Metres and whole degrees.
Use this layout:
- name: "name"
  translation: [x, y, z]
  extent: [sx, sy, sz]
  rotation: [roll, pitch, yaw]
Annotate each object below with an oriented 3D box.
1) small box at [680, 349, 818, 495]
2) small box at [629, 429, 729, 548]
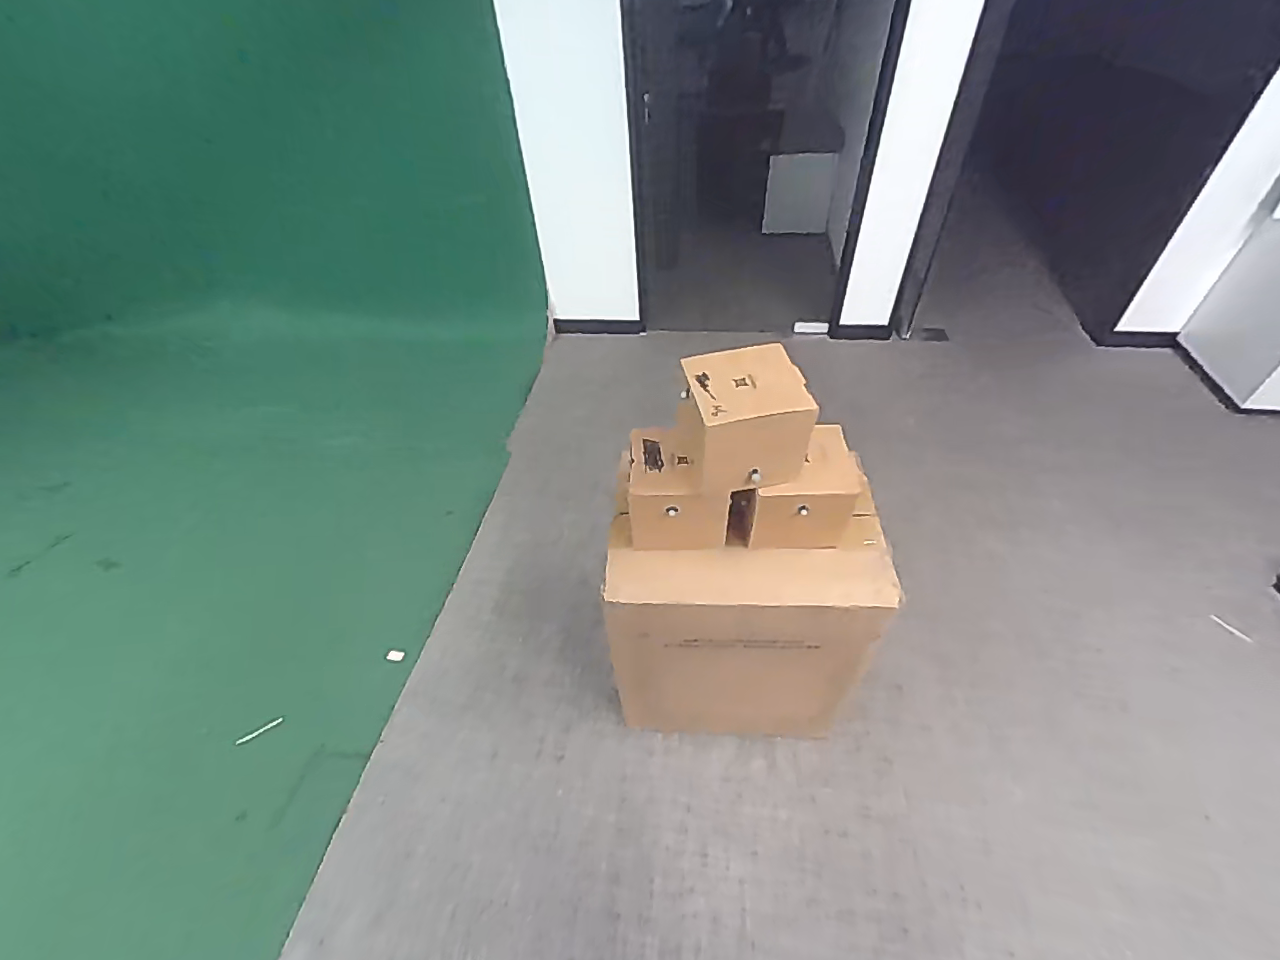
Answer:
- name: "small box"
  translation: [0.170, -0.095, 0.910]
  extent: [0.179, 0.176, 0.168]
  rotation: [-9, 49, -5]
- name: "small box"
  translation: [0.074, 0.019, 1.034]
  extent: [0.179, 0.176, 0.168]
  rotation: [0, 50, 3]
